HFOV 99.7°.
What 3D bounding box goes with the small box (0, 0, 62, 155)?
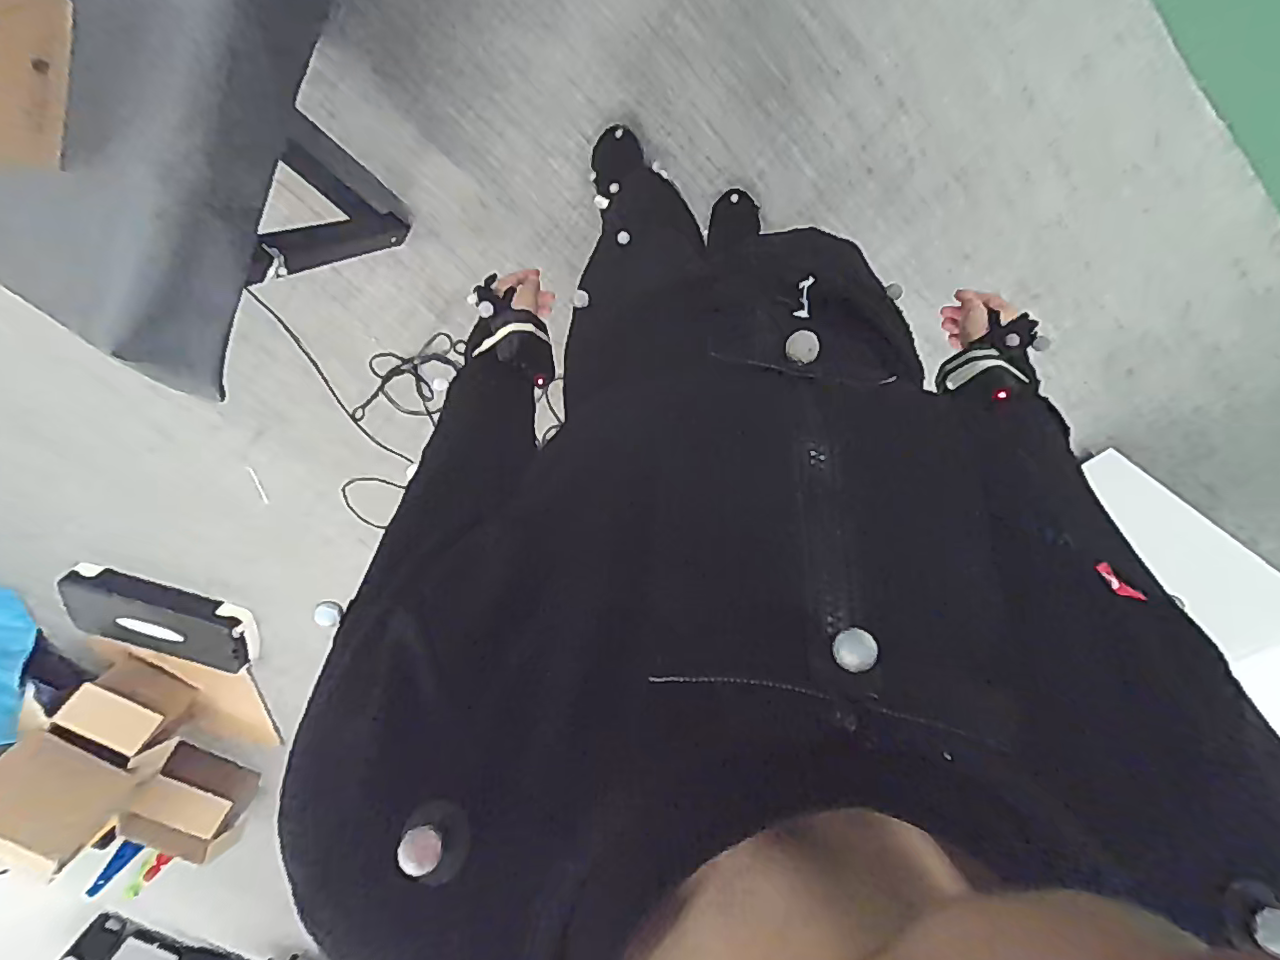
[{"bbox_3d":[-0.624,-0.382,0.421,0.179,0.176,0.168,36,118,-11],"label":"small box"}]
